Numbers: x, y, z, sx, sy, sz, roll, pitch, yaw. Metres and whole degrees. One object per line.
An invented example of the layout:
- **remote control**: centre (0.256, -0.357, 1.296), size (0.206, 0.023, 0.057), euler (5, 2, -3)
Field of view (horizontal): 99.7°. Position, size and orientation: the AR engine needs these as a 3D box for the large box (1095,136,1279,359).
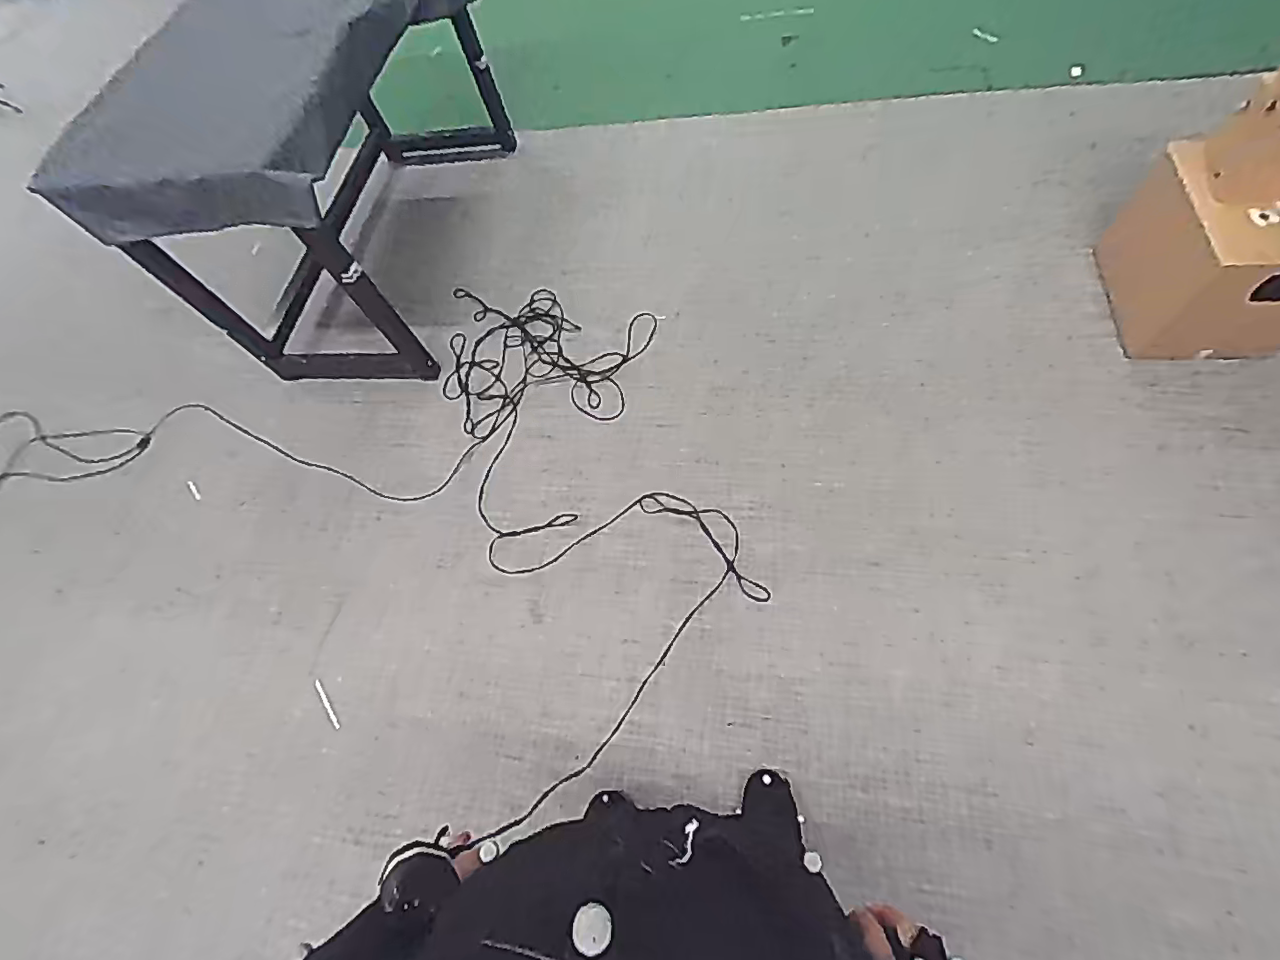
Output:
- **large box**: centre (1.400, -0.547, 1.303), size (0.320, 0.320, 0.408), euler (1, 66, 12)
